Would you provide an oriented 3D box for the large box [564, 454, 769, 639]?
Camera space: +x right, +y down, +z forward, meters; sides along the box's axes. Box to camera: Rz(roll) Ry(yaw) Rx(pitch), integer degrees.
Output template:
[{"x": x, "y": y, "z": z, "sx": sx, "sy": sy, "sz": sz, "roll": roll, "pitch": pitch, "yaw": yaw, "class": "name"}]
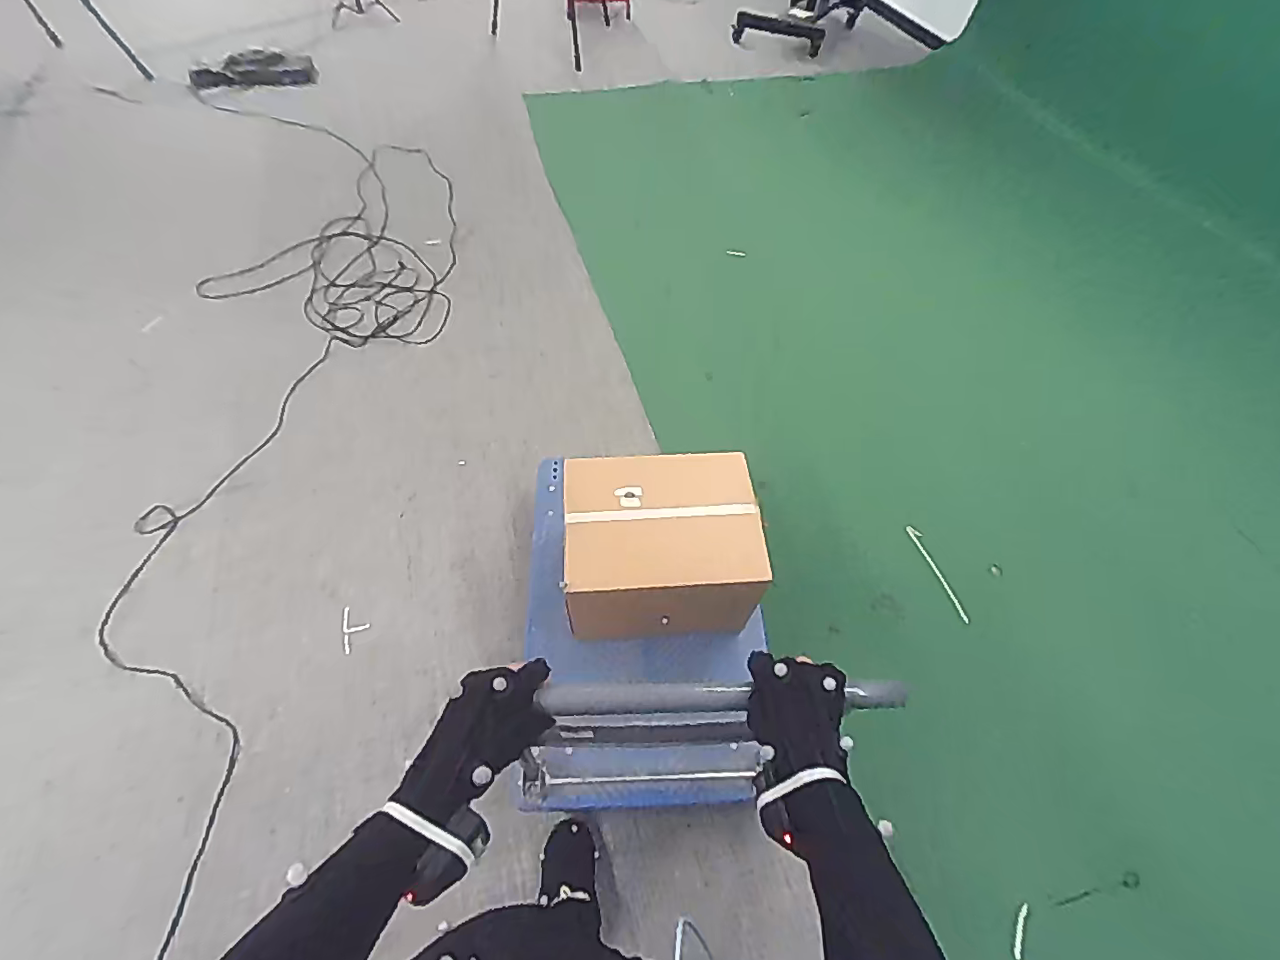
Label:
[{"x": 0.040, "y": 0.161, "z": 1.248, "sx": 0.408, "sy": 0.320, "sz": 0.320, "roll": -3, "pitch": 56, "yaw": -4, "class": "large box"}]
